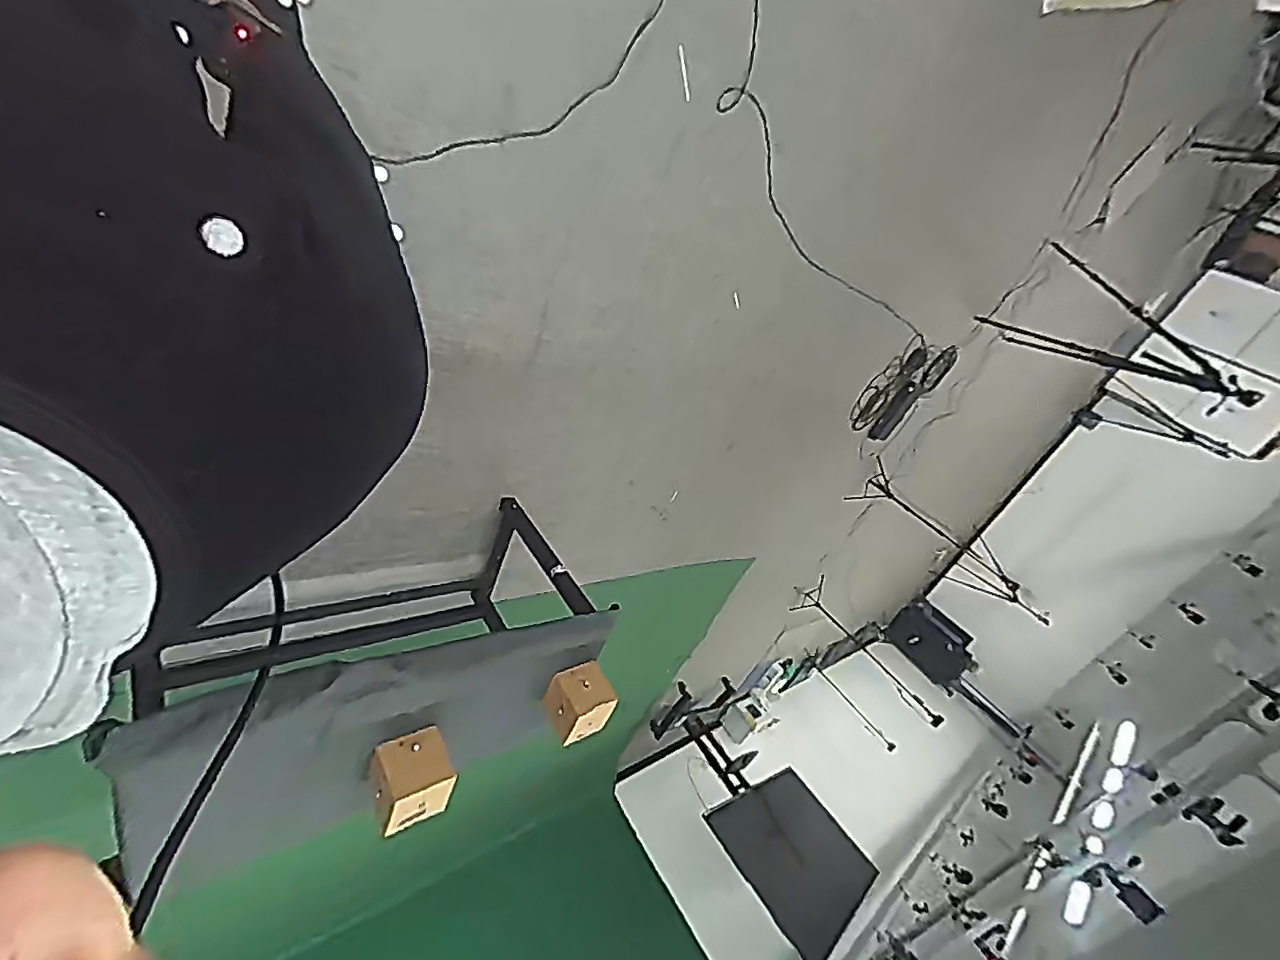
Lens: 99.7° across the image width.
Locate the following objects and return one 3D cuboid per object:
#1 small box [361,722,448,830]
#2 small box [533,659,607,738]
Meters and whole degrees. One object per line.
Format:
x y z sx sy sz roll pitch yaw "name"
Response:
-0.662 0.817 1.507 0.168 0.176 0.179 -4 128 -45 "small box"
-0.247 0.742 1.864 0.168 0.176 0.179 -6 130 -43 "small box"
